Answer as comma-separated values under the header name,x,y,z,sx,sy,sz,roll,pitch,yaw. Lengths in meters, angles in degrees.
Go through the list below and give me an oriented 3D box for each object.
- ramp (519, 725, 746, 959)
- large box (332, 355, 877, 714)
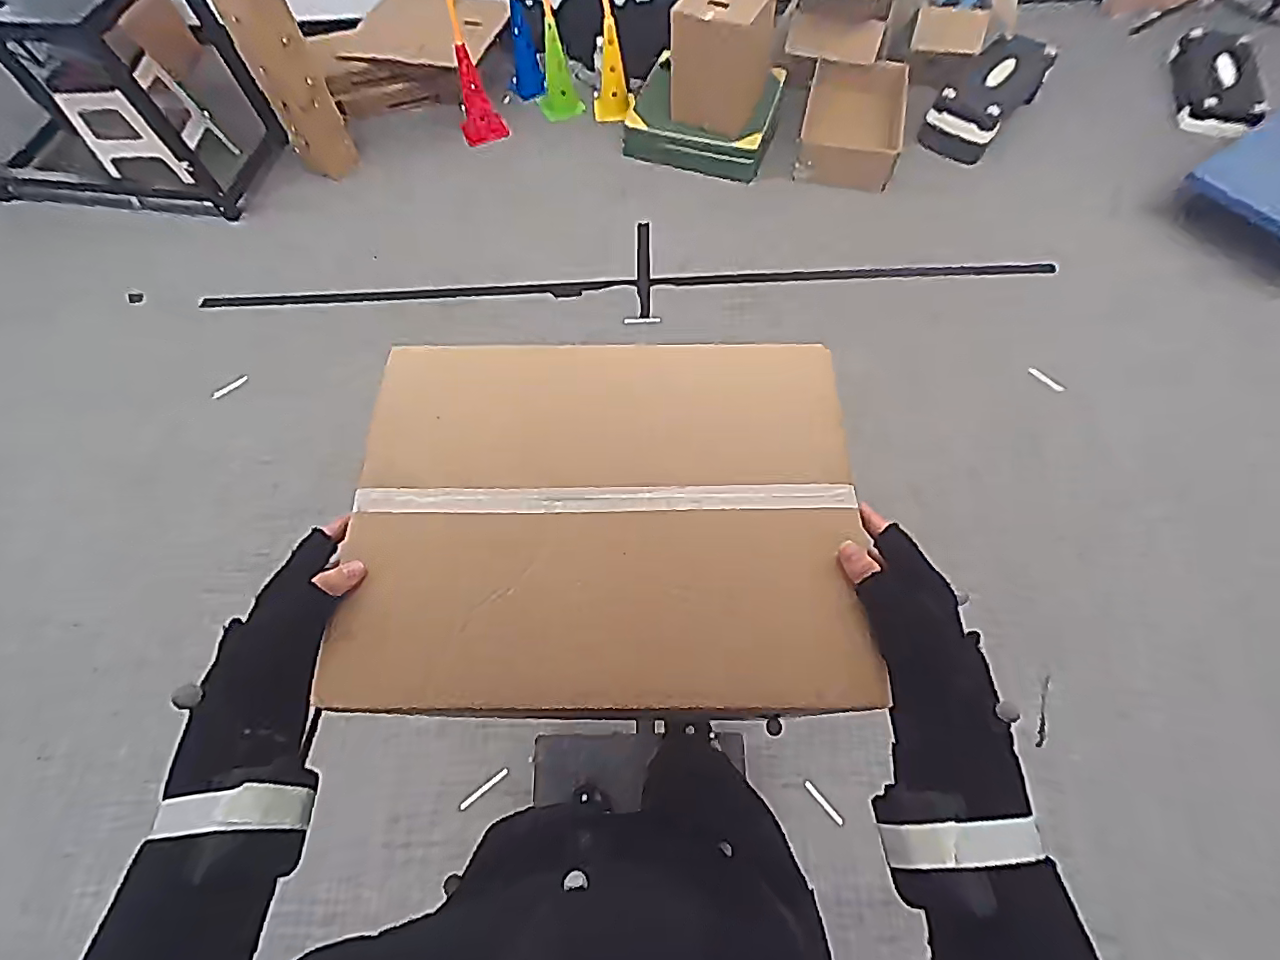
name,x,y,z,sx,sy,sz,roll,pitch,yaw
ramp,-0.014,1.064,1.151,0.509,0.206,0.991,-2,65,-1
large box,-0.025,0.083,0.585,0.408,0.320,0.320,0,65,0
